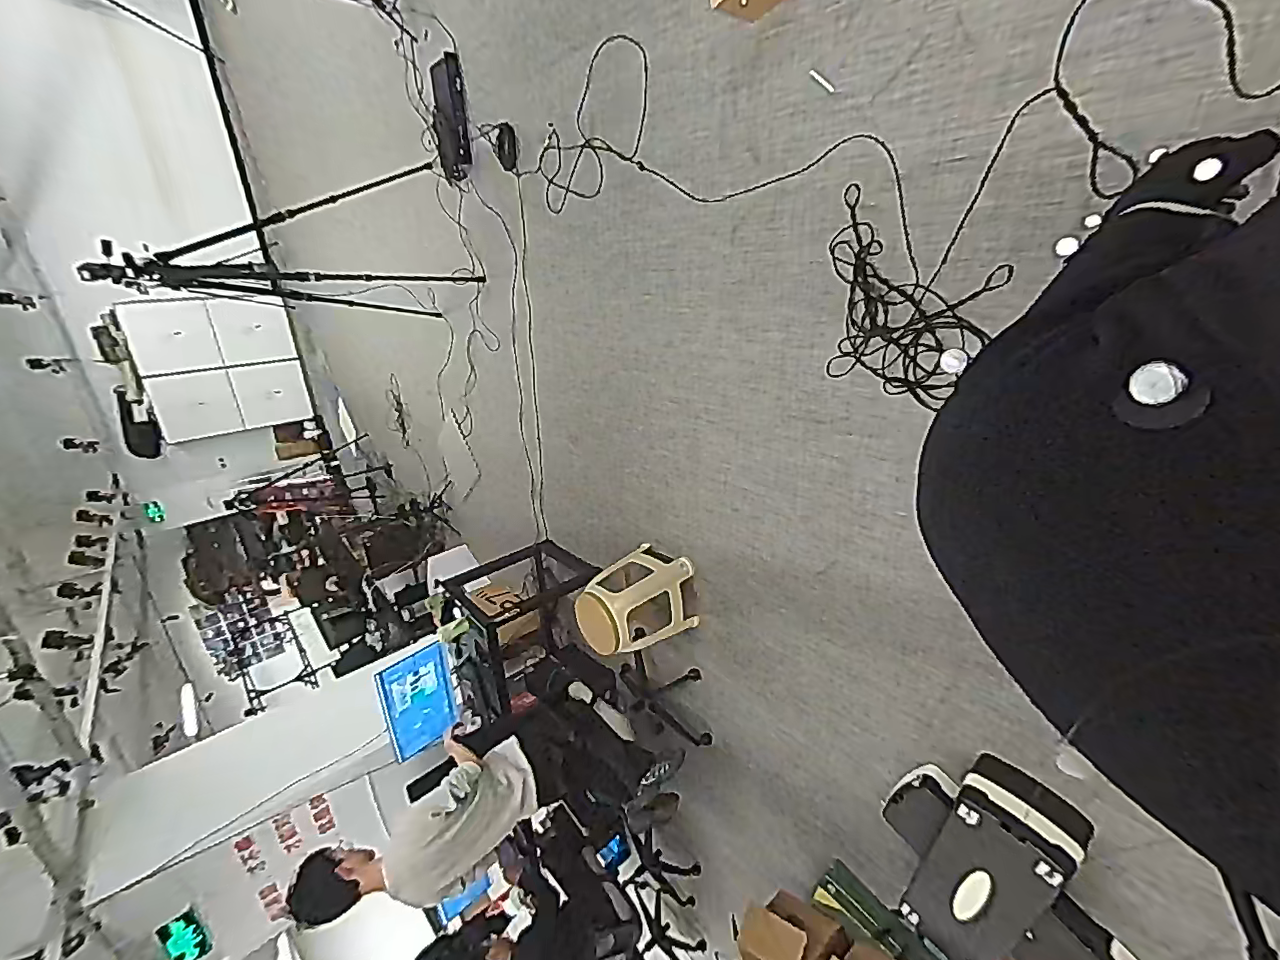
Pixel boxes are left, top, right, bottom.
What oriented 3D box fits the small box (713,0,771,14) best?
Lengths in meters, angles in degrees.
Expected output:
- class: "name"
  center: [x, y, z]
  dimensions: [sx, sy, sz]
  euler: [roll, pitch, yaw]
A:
- class: "small box"
  center: [0.295, -1.350, 1.389]
  dimensions: [0.179, 0.176, 0.168]
  euler: [7, 113, 51]
